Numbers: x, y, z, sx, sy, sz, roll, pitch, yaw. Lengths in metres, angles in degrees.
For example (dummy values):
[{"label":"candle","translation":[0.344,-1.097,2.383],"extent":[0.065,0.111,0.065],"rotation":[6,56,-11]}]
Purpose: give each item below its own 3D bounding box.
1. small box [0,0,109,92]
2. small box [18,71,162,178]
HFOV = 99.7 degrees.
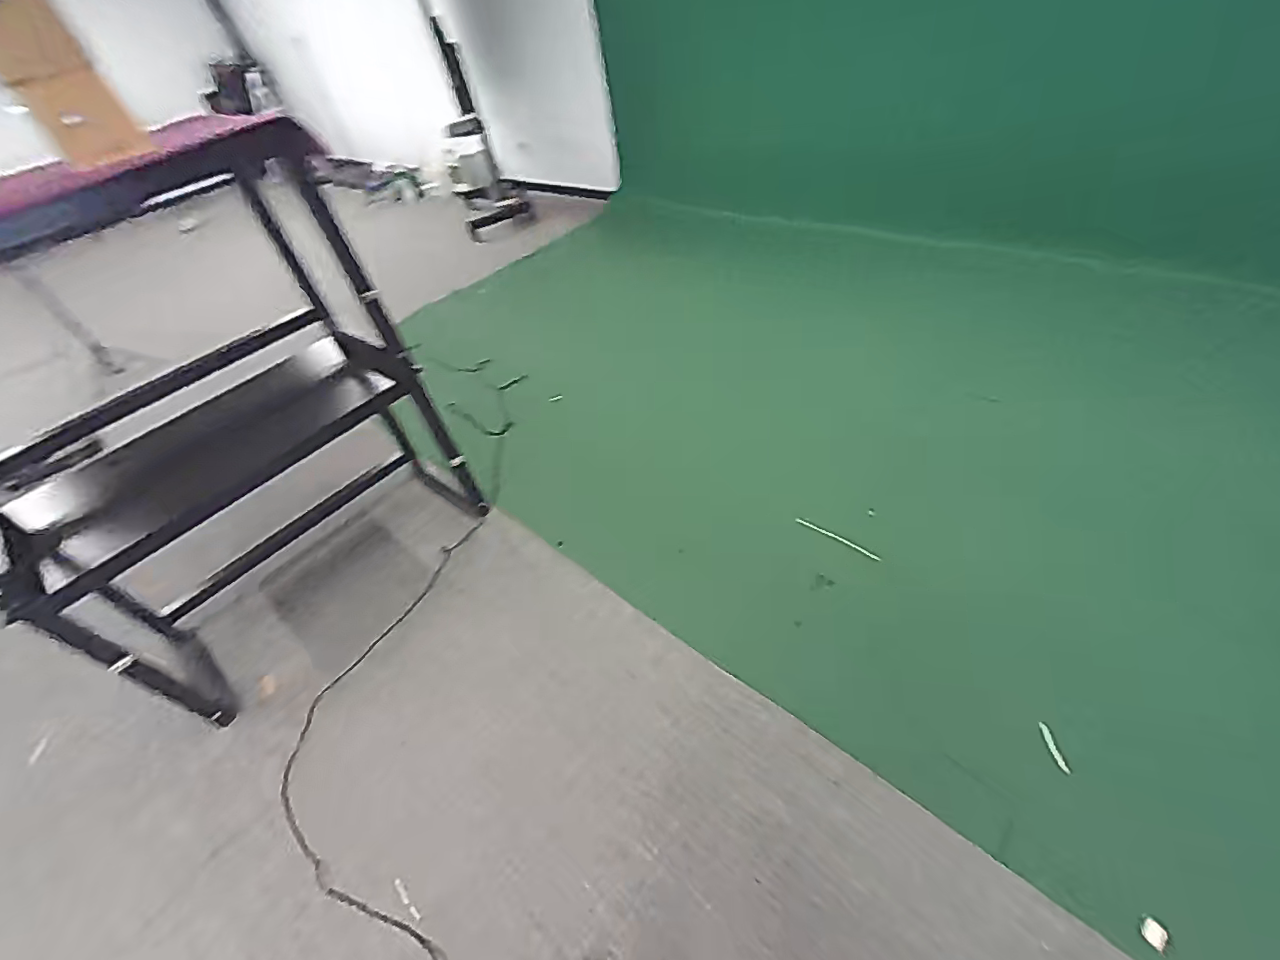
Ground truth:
[{"label":"small box","translation":[-1.272,-0.919,1.118],"extent":[0.168,0.176,0.179],"rotation":[26,56,34]},{"label":"small box","translation":[-1.247,-0.807,1.235],"extent":[0.179,0.176,0.168],"rotation":[29,58,37]}]
